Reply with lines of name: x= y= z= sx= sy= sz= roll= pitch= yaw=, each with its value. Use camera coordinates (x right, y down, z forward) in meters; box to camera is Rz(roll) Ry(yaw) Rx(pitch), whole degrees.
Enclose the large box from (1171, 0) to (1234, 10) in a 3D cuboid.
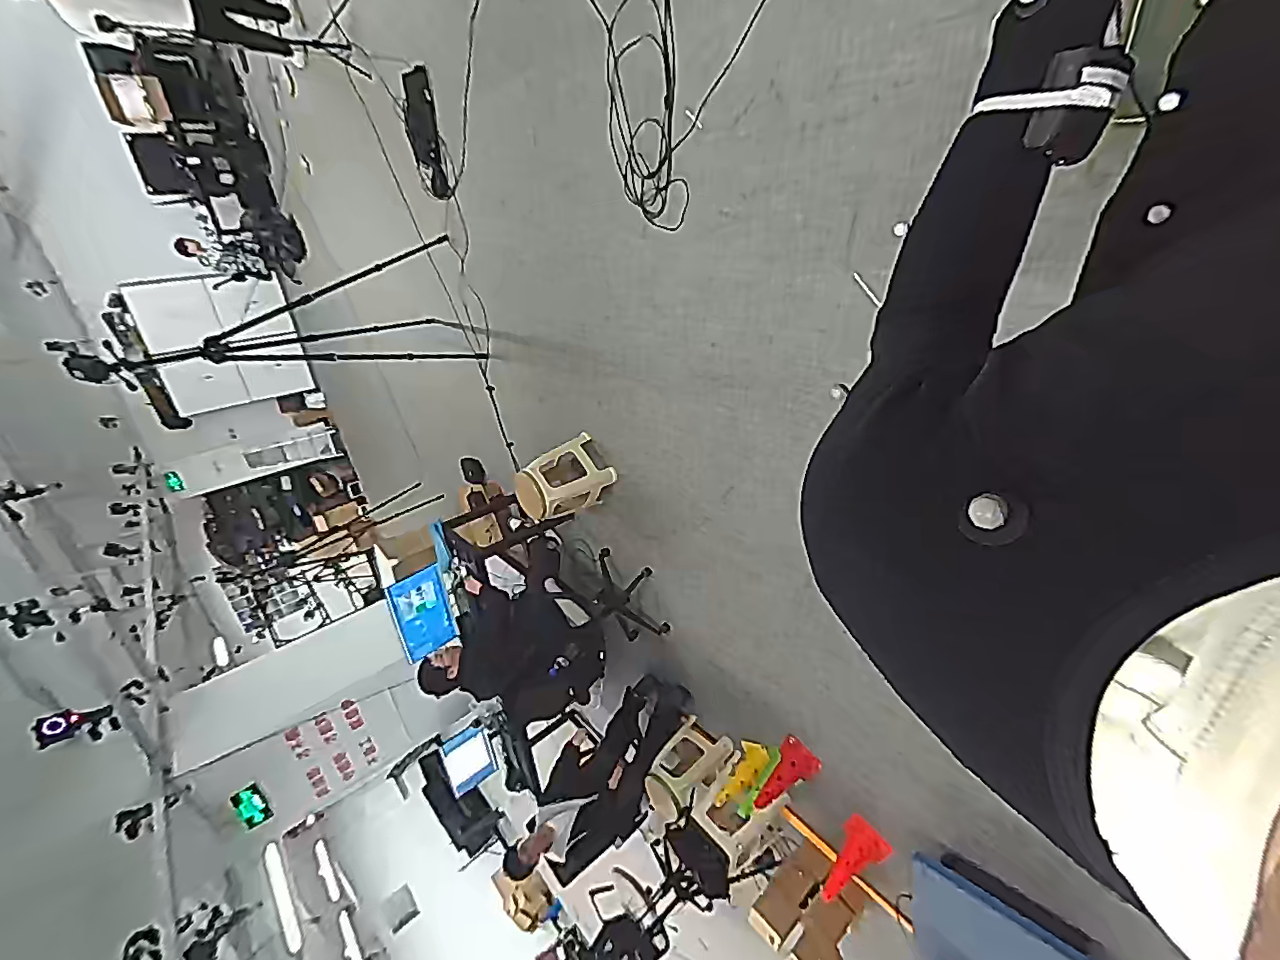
large box: x=0.551 y=-0.496 z=0.255 sx=0.408 sy=0.320 sz=0.320 roll=17 pitch=130 yaw=42
